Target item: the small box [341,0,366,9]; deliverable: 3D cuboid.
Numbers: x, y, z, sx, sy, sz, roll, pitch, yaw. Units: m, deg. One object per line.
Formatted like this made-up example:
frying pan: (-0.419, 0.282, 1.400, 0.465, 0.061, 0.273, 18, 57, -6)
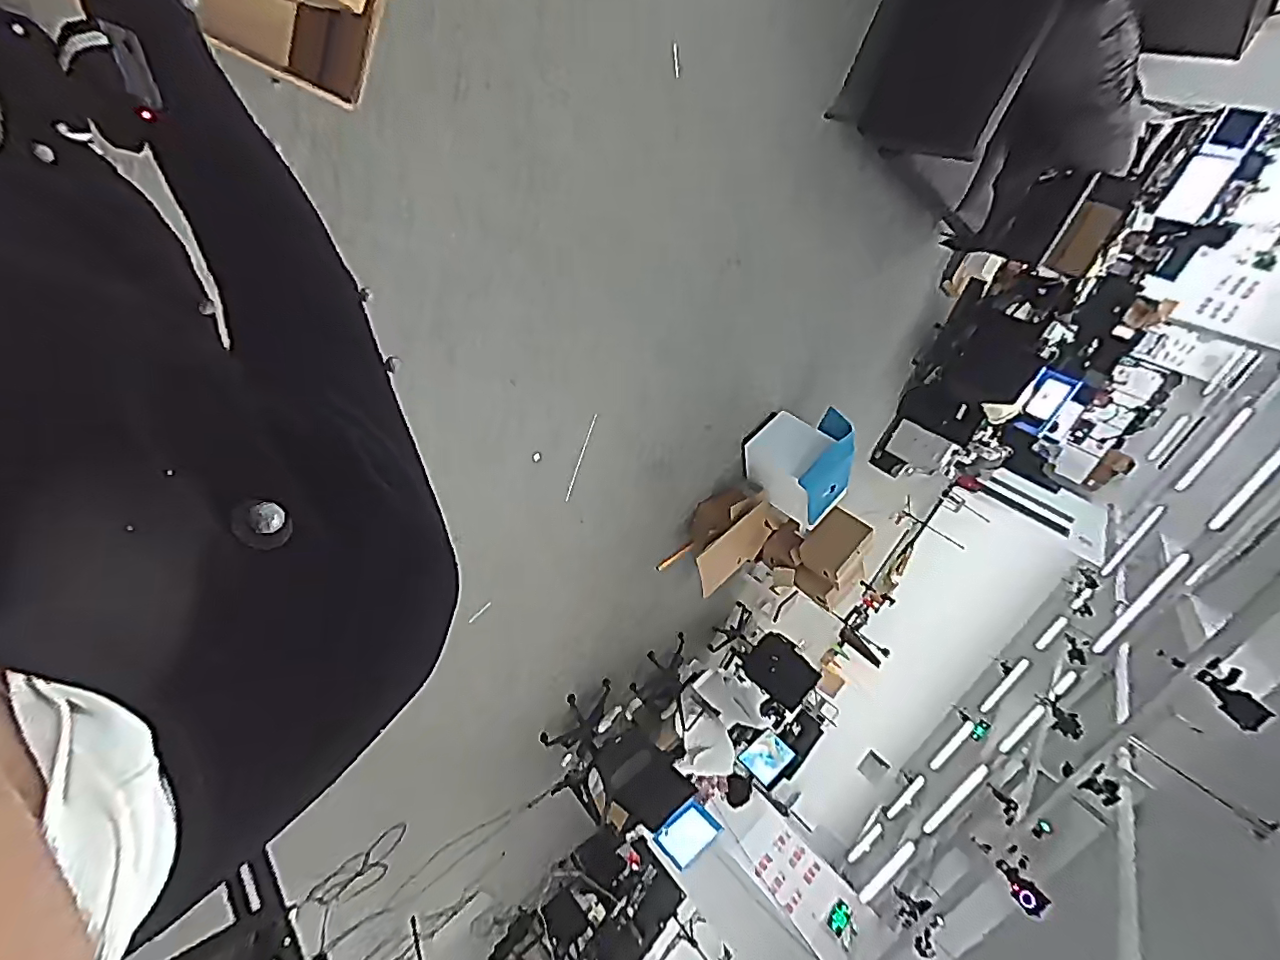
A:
small box: (-0.397, -0.678, 0.598, 0.168, 0.176, 0.179, -1, 123, -52)
